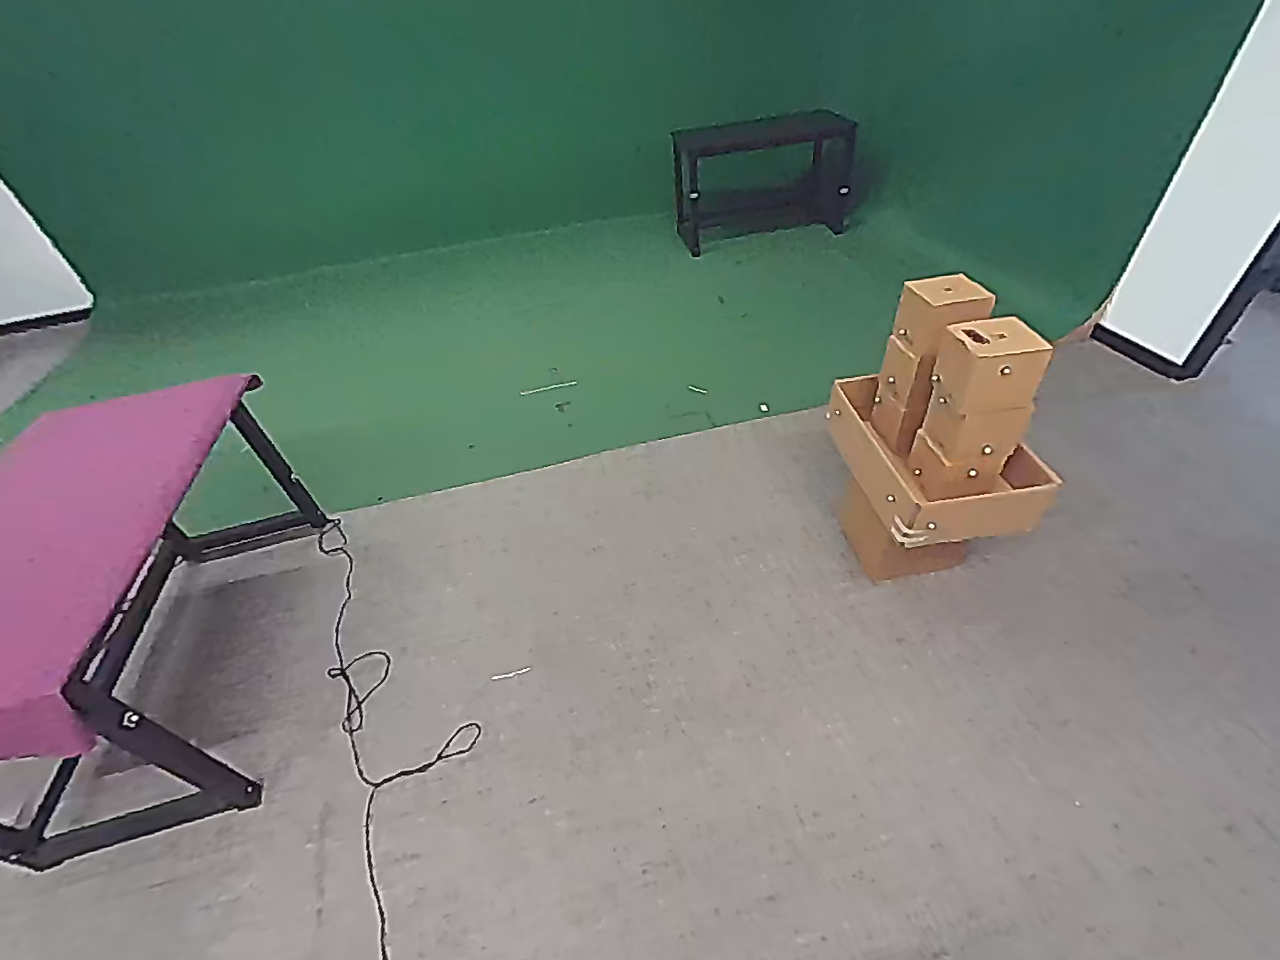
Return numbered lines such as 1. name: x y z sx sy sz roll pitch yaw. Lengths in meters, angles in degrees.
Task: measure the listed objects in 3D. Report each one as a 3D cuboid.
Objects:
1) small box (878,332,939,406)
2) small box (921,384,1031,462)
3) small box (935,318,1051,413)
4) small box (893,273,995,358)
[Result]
1. small box: 0.865 -0.350 1.662 0.179 0.176 0.168 -10 44 -4
2. small box: 0.905 -0.169 1.476 0.179 0.176 0.168 -7 43 0
3. small box: 0.871 -0.285 1.362 0.179 0.176 0.168 -6 44 2
4. small box: 0.861 -0.472 1.553 0.179 0.176 0.168 -9 44 -3
